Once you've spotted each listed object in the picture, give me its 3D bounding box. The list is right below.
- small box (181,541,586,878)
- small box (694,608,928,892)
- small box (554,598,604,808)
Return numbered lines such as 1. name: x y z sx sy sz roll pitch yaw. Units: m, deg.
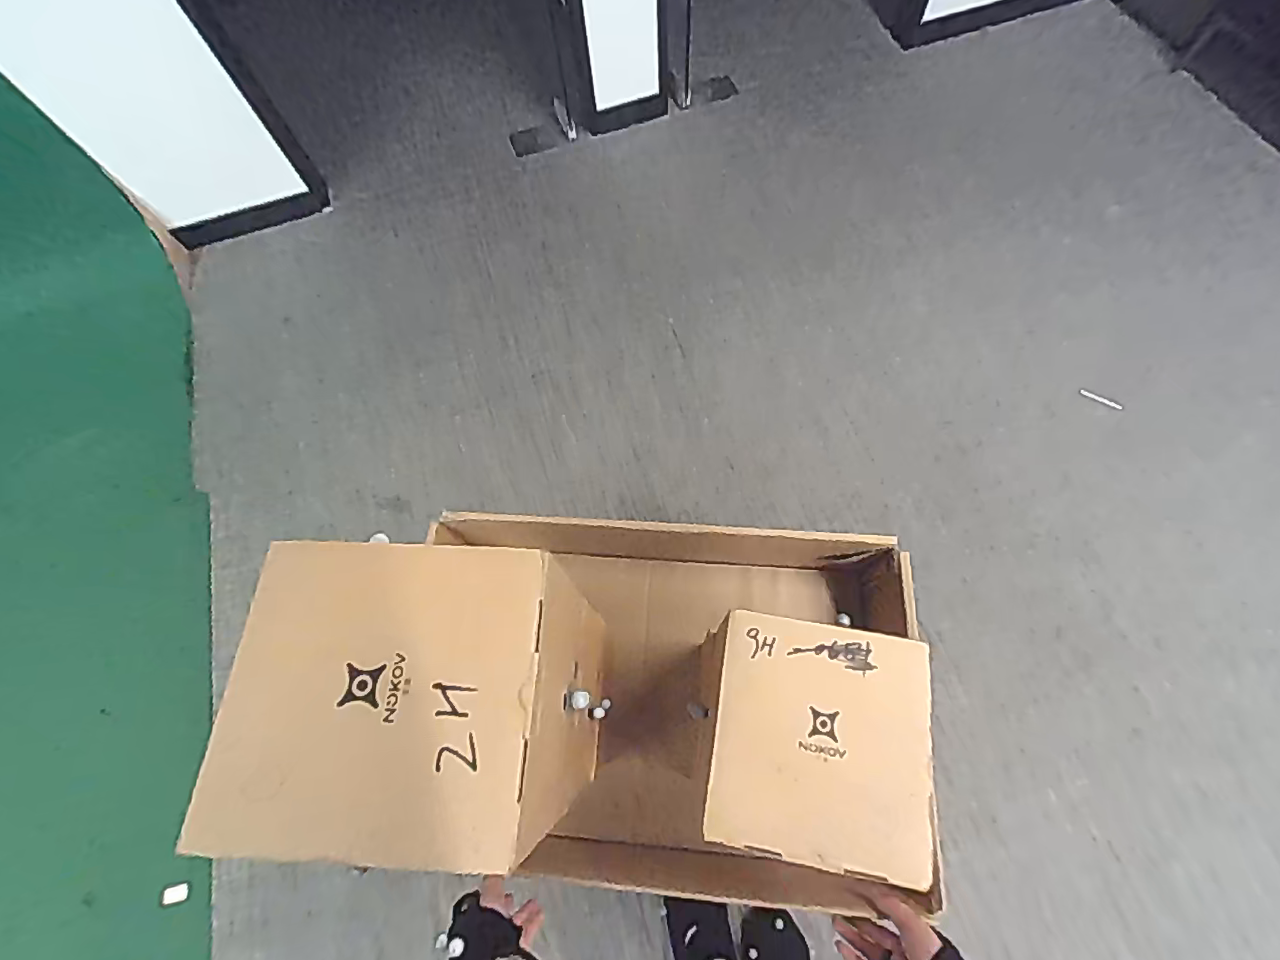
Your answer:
1. small box: -0.140 0.146 0.373 0.179 0.176 0.168 2 68 3
2. small box: 0.144 0.232 0.499 0.168 0.176 0.179 10 69 6
3. small box: -0.135 0.206 0.527 0.179 0.176 0.168 3 68 3
